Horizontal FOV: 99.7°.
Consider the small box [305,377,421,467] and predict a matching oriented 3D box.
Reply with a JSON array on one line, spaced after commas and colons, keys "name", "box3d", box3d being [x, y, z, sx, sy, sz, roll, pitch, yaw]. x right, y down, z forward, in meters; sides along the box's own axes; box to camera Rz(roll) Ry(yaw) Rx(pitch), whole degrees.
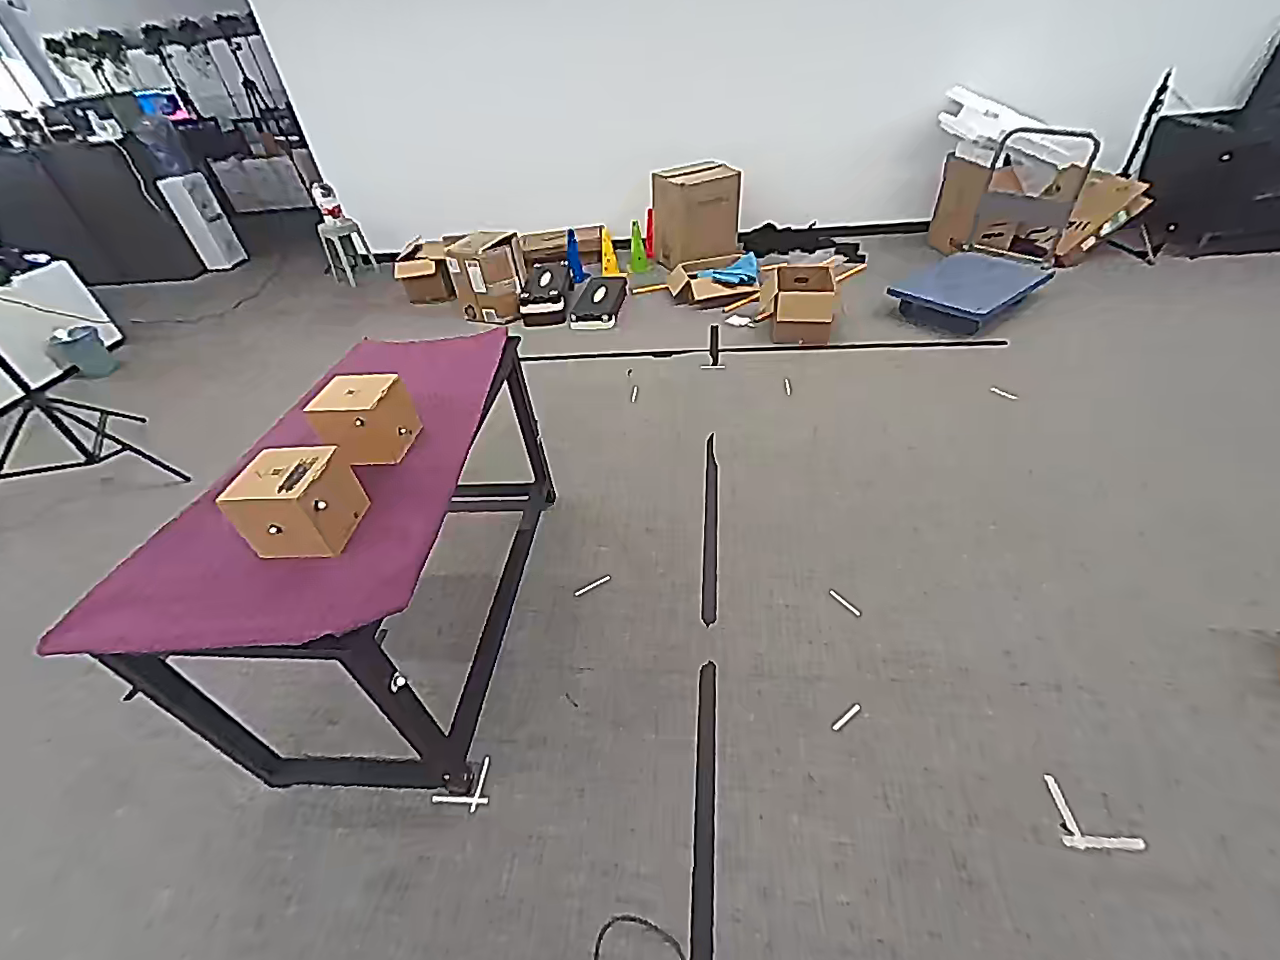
[{"name": "small box", "box3d": [-0.692, -0.146, 1.372, 0.179, 0.176, 0.168, -1, 41, 6]}]
